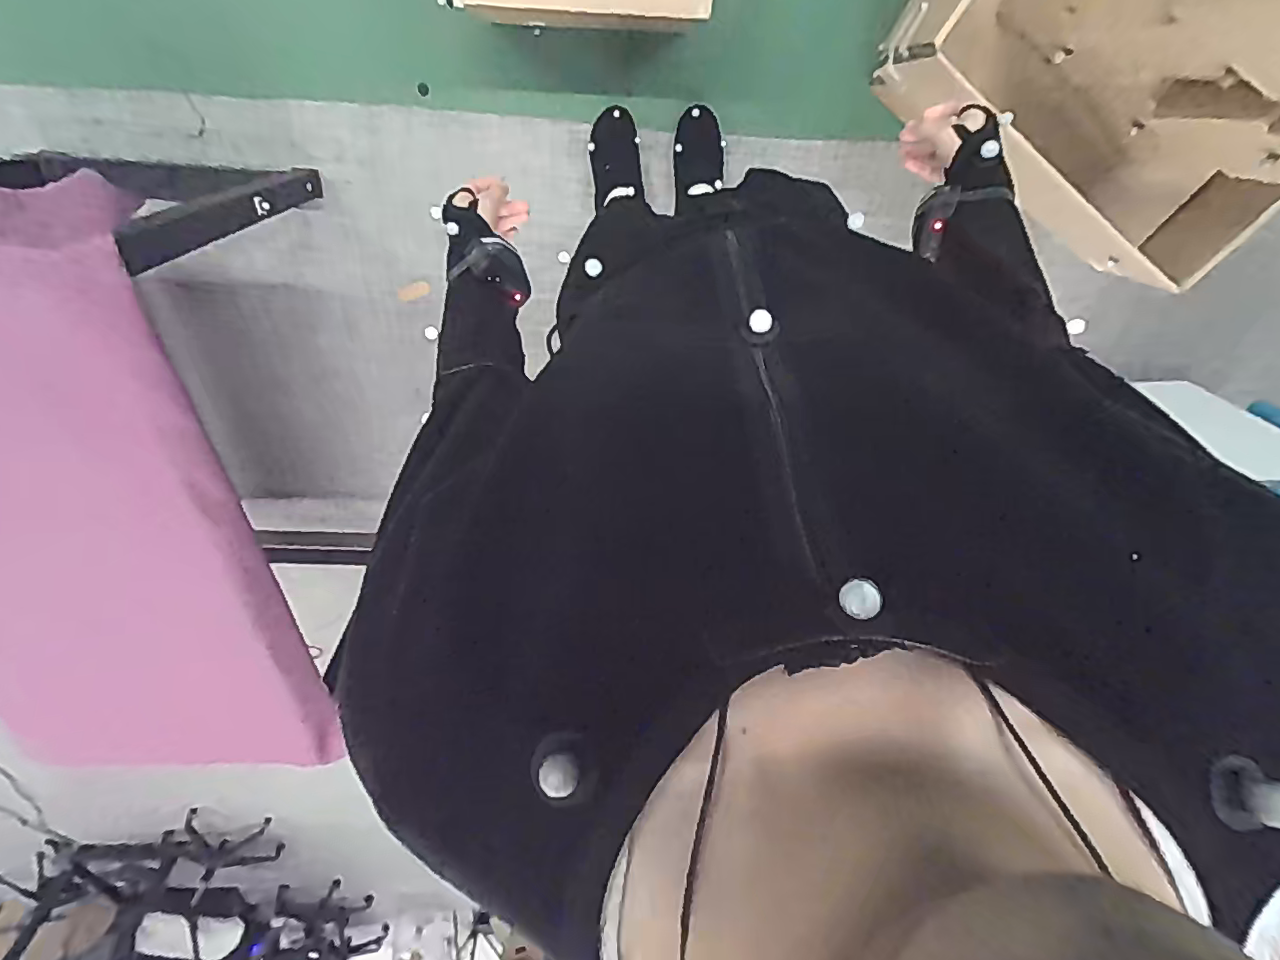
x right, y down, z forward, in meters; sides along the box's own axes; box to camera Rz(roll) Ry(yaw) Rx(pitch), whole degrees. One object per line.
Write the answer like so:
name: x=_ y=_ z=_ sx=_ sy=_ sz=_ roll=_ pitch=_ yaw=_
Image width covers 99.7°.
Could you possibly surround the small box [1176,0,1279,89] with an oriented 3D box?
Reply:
small box: x=0.614 y=-0.435 z=0.429 sx=0.179 sy=0.176 sz=0.168 roll=19 pitch=122 yaw=-15
